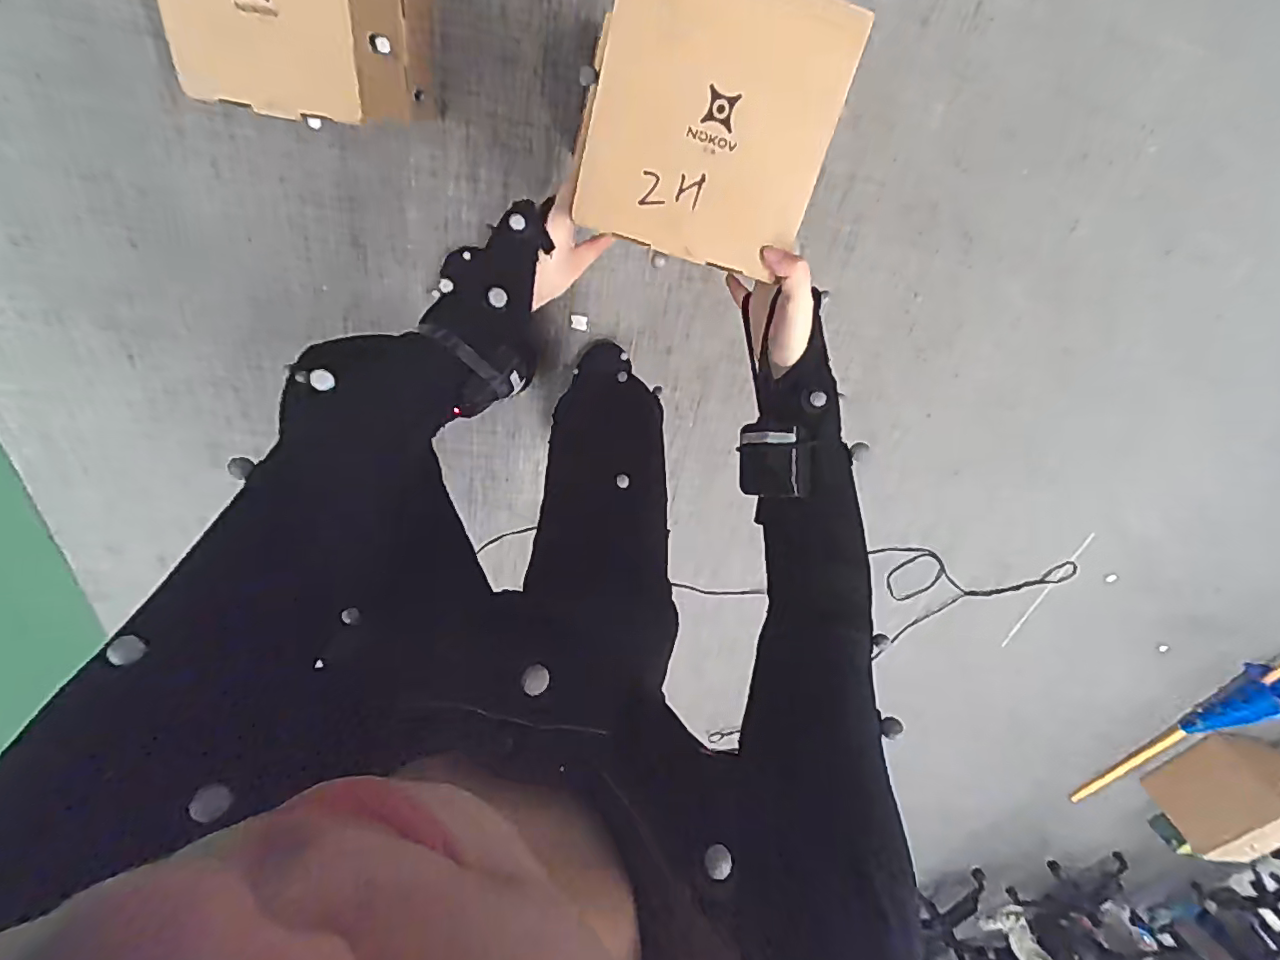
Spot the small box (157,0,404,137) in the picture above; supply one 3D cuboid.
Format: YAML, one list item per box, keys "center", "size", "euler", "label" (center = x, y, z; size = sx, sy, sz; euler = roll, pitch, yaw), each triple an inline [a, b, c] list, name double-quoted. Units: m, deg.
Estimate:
- center: [-0.350, -0.469, 0.549]
  size: [0.168, 0.176, 0.179]
  euler: [4, 125, -10]
  label: "small box"

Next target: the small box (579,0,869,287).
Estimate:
- center: [0.047, -0.278, 0.450]
  size: [0.168, 0.176, 0.179]
  euler: [13, 113, -10]
  label: "small box"

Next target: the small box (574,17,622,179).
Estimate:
- center: [0.003, -0.511, 0.768]
  size: [0.168, 0.176, 0.179]
  euler: [11, 124, -15]
  label: "small box"
